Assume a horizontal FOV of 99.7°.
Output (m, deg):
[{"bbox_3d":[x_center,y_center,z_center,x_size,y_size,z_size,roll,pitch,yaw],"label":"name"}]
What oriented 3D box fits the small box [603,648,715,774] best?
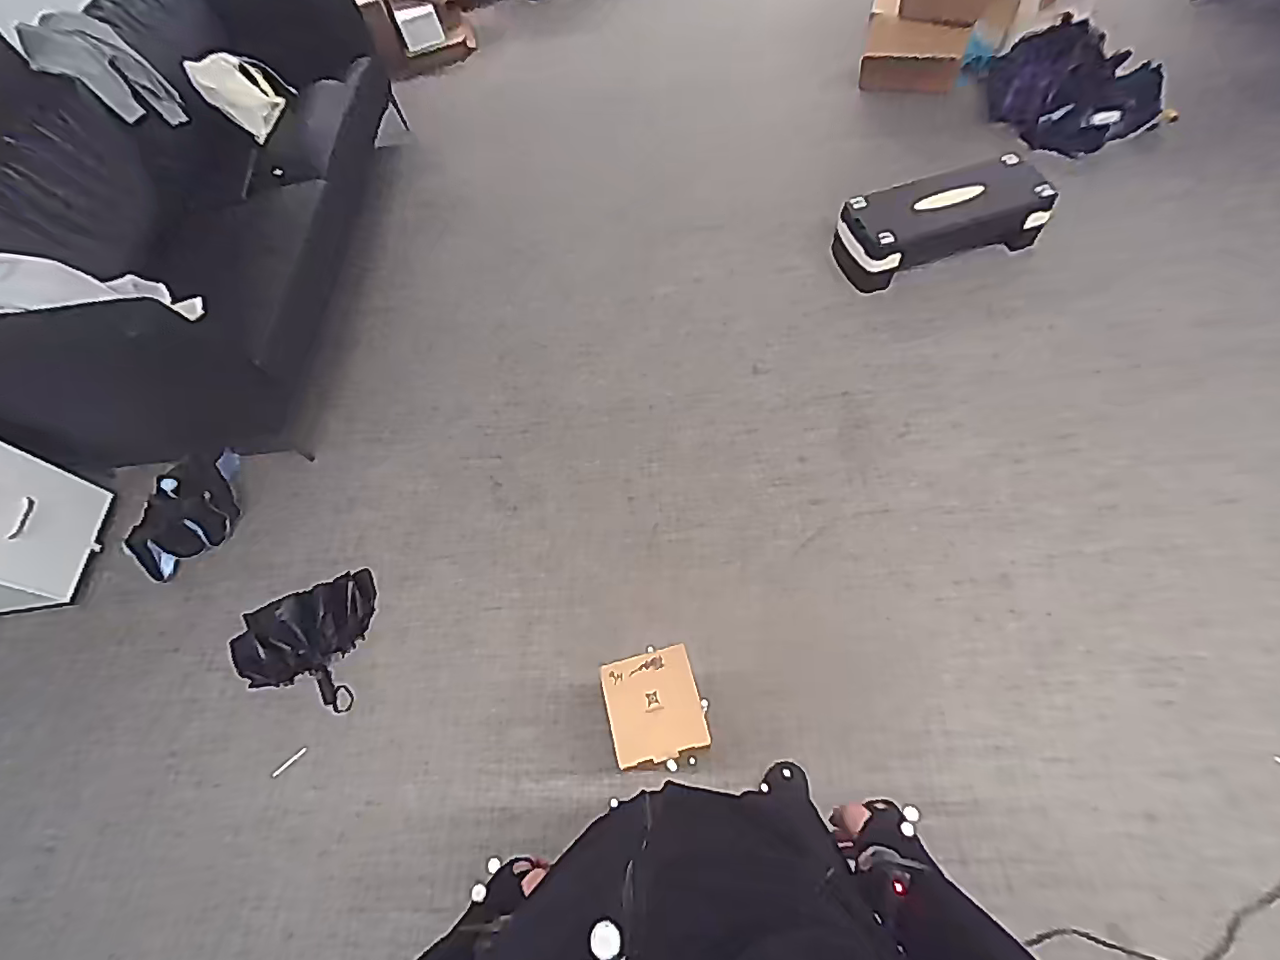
[{"bbox_3d":[0.042,0.436,1.020,0.168,0.176,0.179,-16,62,0],"label":"small box"}]
